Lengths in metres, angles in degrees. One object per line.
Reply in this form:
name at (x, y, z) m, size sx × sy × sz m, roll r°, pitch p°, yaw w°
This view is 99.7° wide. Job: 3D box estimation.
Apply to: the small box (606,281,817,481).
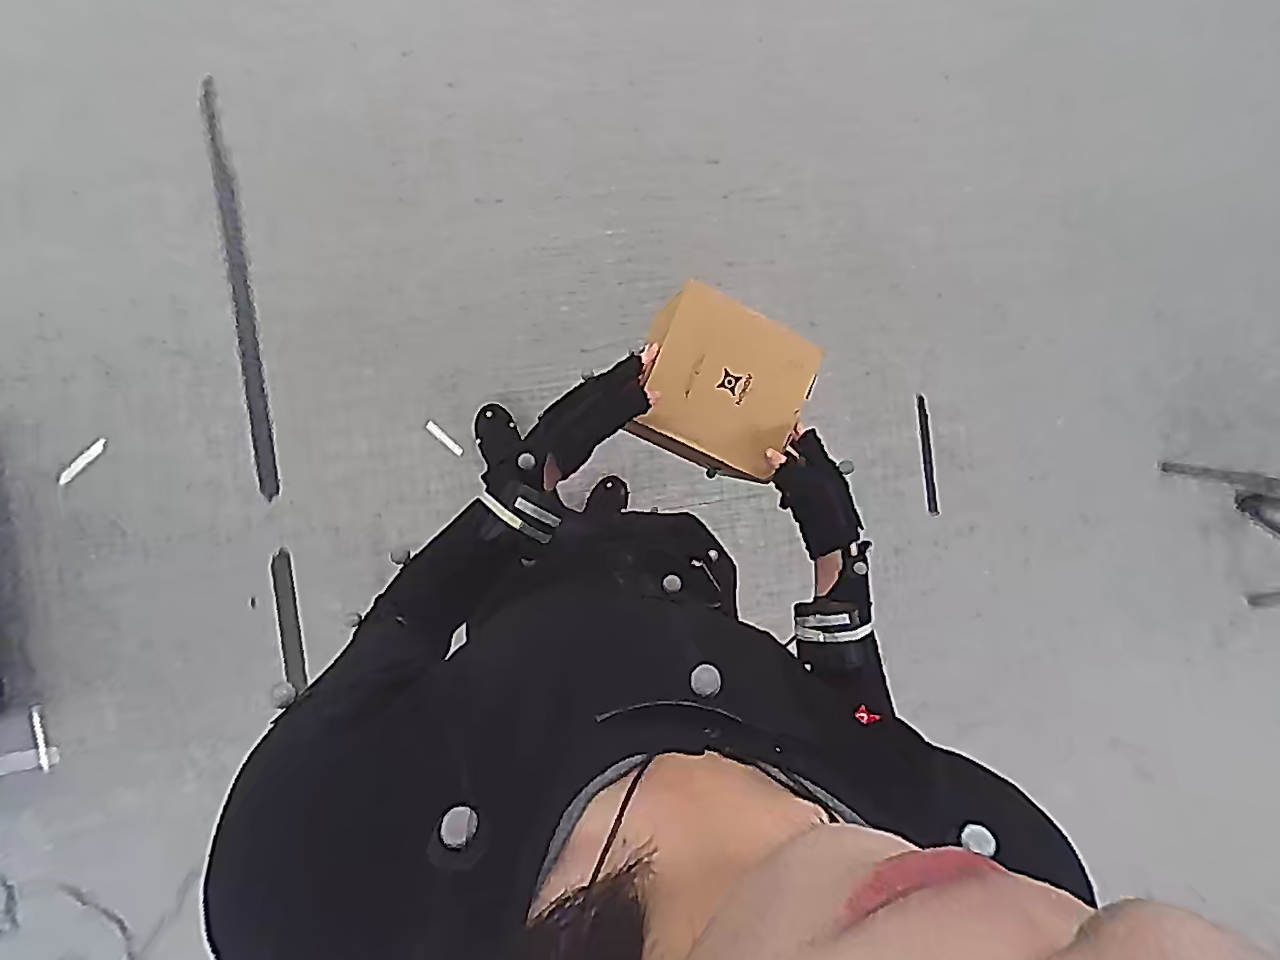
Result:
small box at (0.075, -0.109, 0.659) m, size 0.179 × 0.176 × 0.168 m, roll 22°, pitch 88°, yaw -11°
